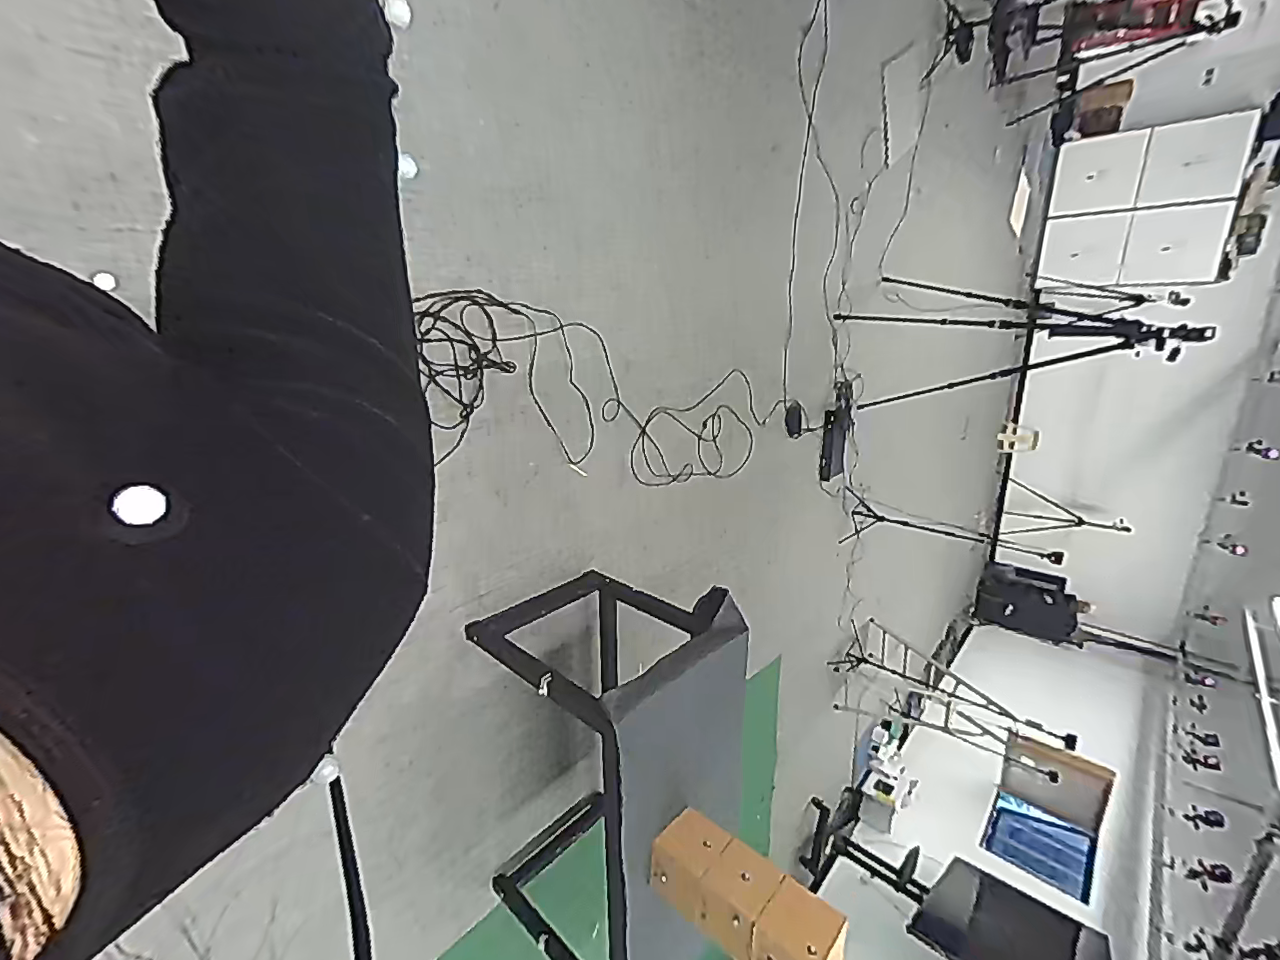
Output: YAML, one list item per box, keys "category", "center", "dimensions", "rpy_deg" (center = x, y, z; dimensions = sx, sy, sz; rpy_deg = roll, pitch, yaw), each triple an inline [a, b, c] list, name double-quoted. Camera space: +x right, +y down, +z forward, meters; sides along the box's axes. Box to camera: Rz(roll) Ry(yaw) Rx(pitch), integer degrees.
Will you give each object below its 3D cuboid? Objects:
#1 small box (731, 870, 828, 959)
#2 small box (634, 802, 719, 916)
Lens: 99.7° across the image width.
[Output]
- category: "small box"
  center: [0.351, 1.147, 1.363]
  dimensions: [0.179, 0.176, 0.168]
  rpy_deg: [-17, 114, -46]
- category: "small box"
  center: [0.104, 1.087, 1.569]
  dimensions: [0.179, 0.176, 0.168]
  rpy_deg: [-11, 109, -47]
